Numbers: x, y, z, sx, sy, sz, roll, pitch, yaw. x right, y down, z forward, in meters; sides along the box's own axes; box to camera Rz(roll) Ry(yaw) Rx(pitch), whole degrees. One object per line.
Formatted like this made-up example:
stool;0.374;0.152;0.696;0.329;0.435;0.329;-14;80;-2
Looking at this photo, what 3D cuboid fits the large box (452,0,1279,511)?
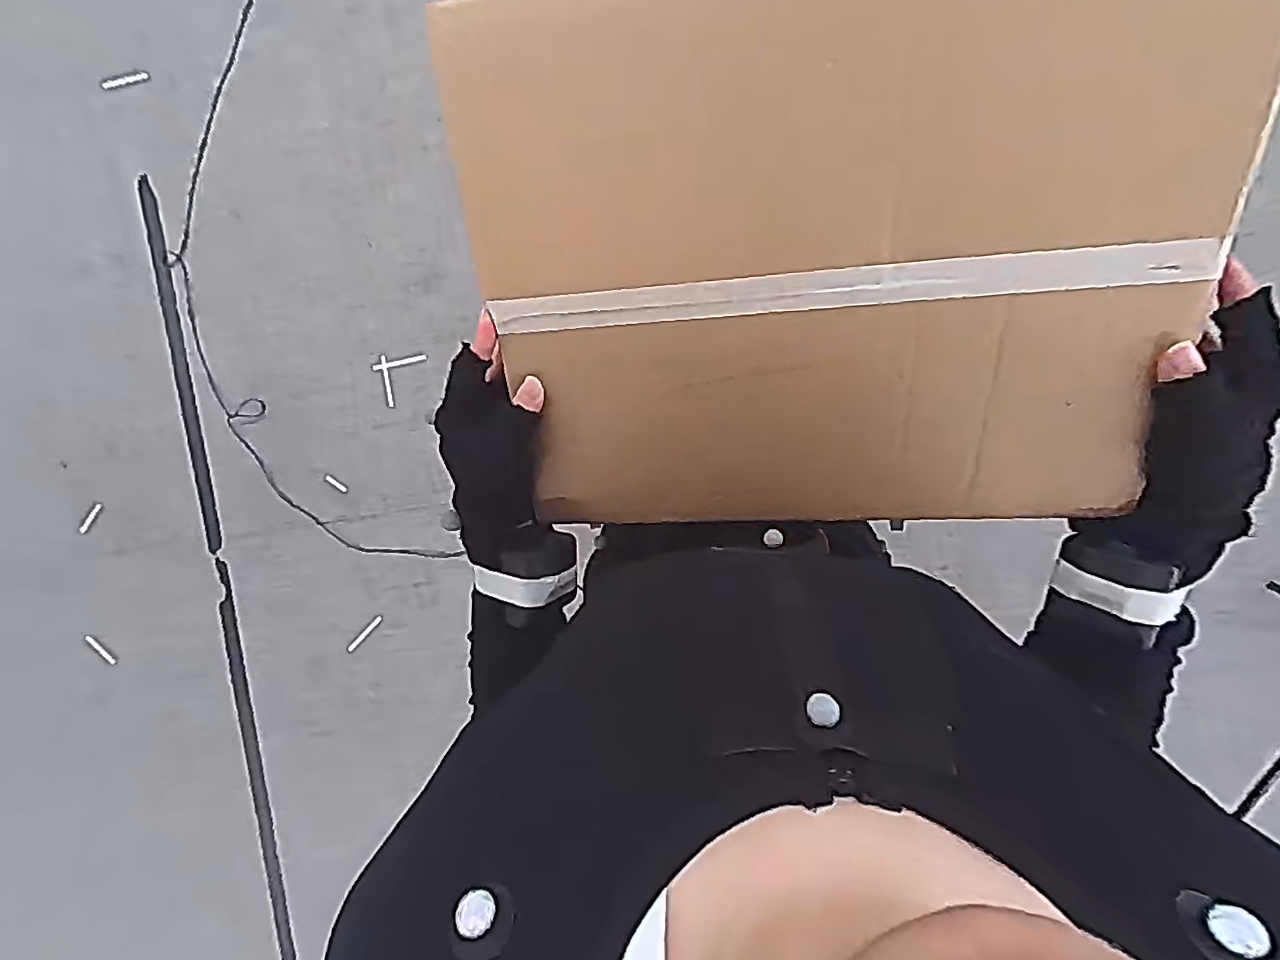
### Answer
large box;0.123;-0.184;0.456;0.408;0.320;0.320;-1;118;8
